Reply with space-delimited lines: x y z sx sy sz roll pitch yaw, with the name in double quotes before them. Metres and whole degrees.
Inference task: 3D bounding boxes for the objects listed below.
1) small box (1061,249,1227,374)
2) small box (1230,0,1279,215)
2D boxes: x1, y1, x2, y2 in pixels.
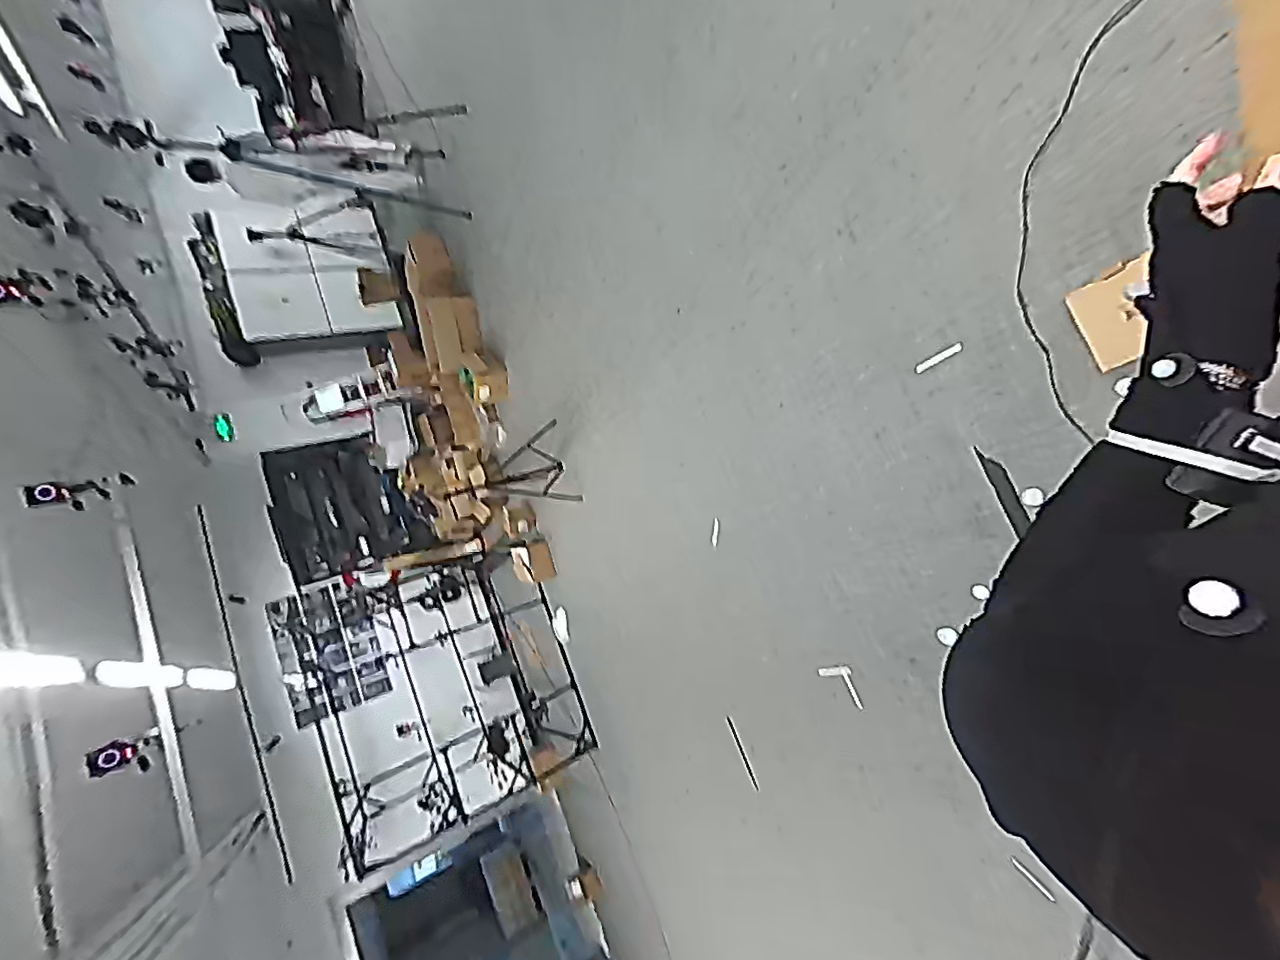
"small box" 0.988 -0.331 1.064 0.168 0.176 0.179 -34 76 60
"small box" 0.441 -0.258 0.253 0.179 0.168 0.176 -6 94 18
